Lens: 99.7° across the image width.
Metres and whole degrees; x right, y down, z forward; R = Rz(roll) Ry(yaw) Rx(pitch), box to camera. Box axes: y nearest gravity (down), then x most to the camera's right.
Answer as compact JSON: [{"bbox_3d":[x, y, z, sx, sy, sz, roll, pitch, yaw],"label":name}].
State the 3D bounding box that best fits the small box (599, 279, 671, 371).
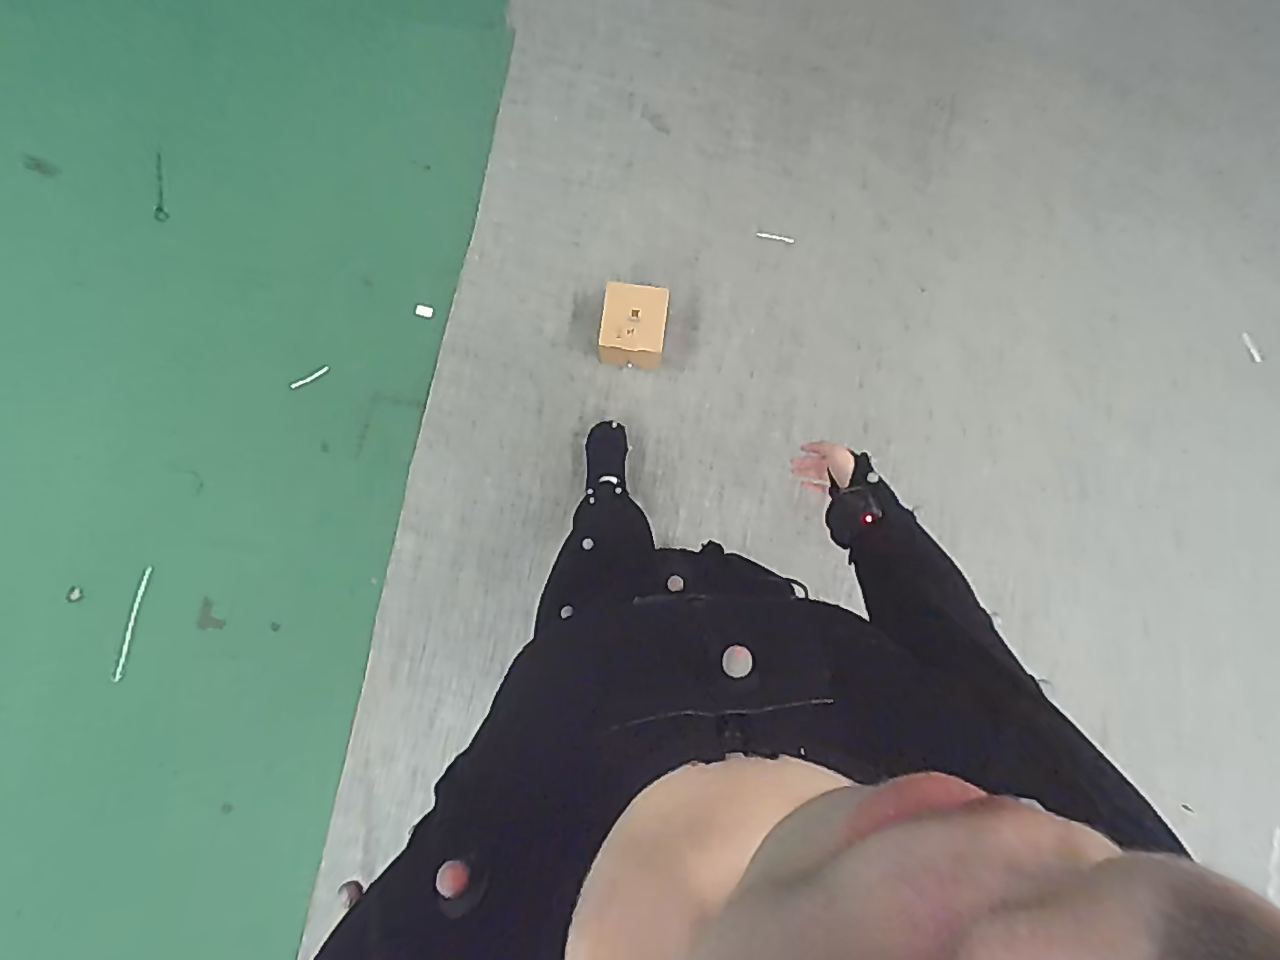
[{"bbox_3d":[-0.015,-0.412,1.456,0.168,0.176,0.179,8,85,0],"label":"small box"}]
